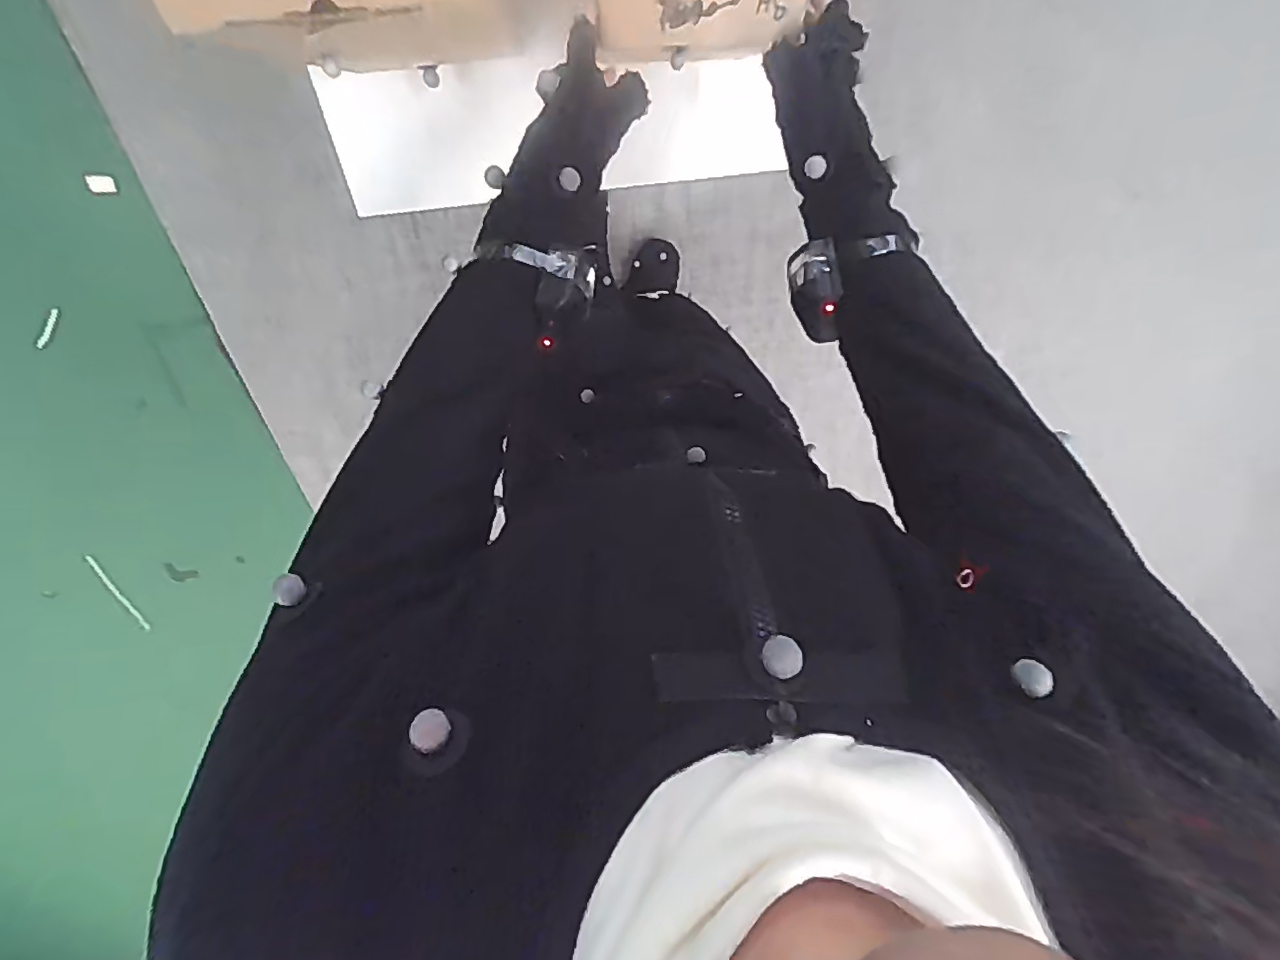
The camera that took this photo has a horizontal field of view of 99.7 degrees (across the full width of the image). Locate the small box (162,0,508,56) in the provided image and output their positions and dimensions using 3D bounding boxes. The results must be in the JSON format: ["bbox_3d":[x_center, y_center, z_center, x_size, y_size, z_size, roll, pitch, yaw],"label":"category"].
[{"bbox_3d":[-0.181,-0.363,0.312,0.168,0.176,0.179,-7,123,-2],"label":"small box"}]

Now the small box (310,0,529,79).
[{"bbox_3d":[-0.195,-0.453,0.448,0.168,0.176,0.179,-8,125,0],"label":"small box"}]
